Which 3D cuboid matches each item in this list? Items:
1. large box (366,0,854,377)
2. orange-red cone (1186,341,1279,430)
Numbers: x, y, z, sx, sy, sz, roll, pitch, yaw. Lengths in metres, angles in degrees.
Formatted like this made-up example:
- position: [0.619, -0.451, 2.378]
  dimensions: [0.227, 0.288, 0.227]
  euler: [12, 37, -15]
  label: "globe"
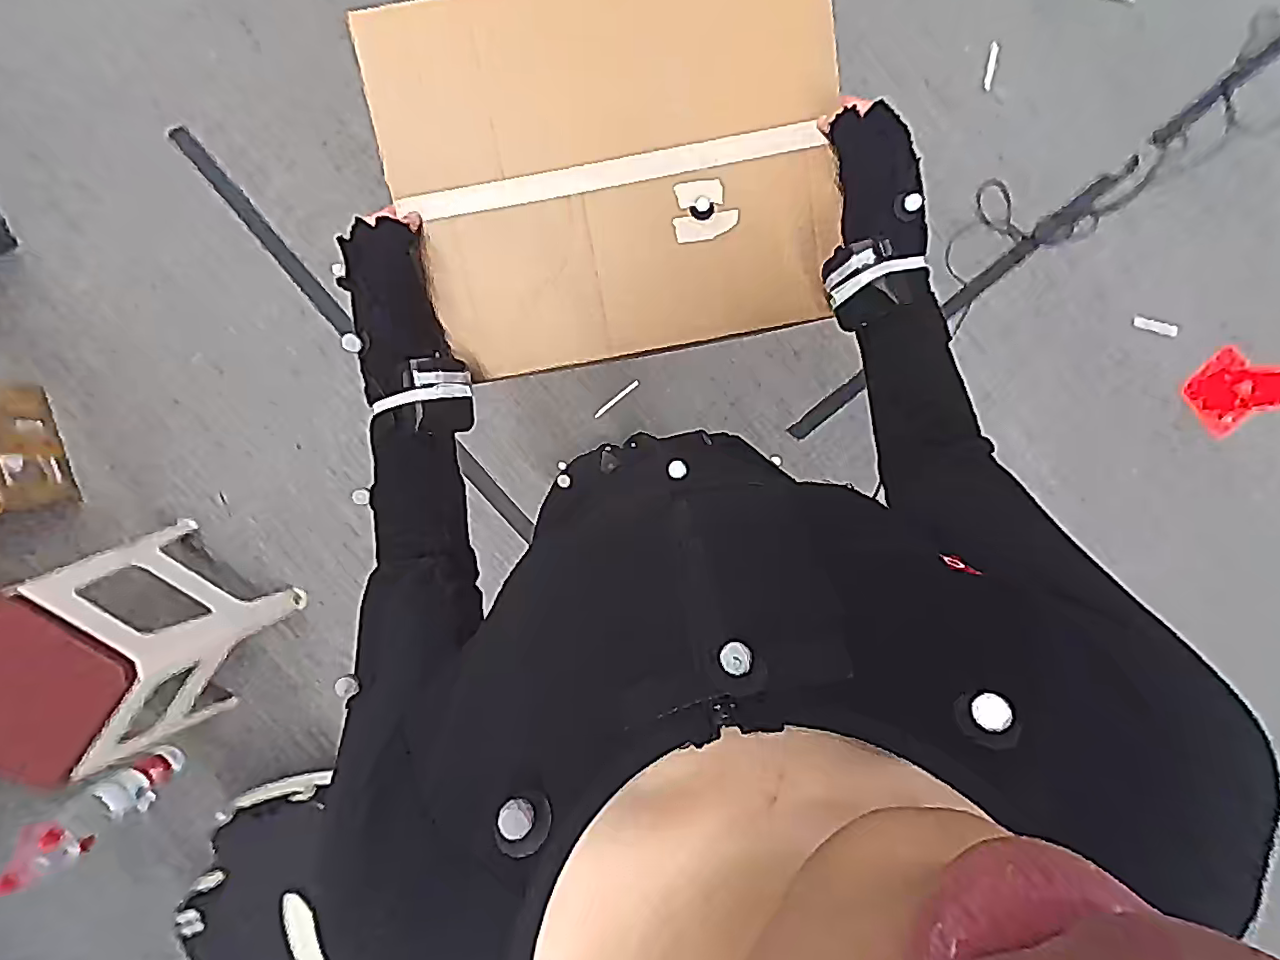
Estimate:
- position: [-0.022, -0.308, 0.633]
  dimensions: [0.408, 0.320, 0.320]
  euler: [-10, 102, -1]
  label: "large box"
- position: [1.690, -0.259, 1.376]
  dimensions: [0.199, 0.360, 0.198]
  euler: [-43, 96, -1]
  label: "orange-red cone"
